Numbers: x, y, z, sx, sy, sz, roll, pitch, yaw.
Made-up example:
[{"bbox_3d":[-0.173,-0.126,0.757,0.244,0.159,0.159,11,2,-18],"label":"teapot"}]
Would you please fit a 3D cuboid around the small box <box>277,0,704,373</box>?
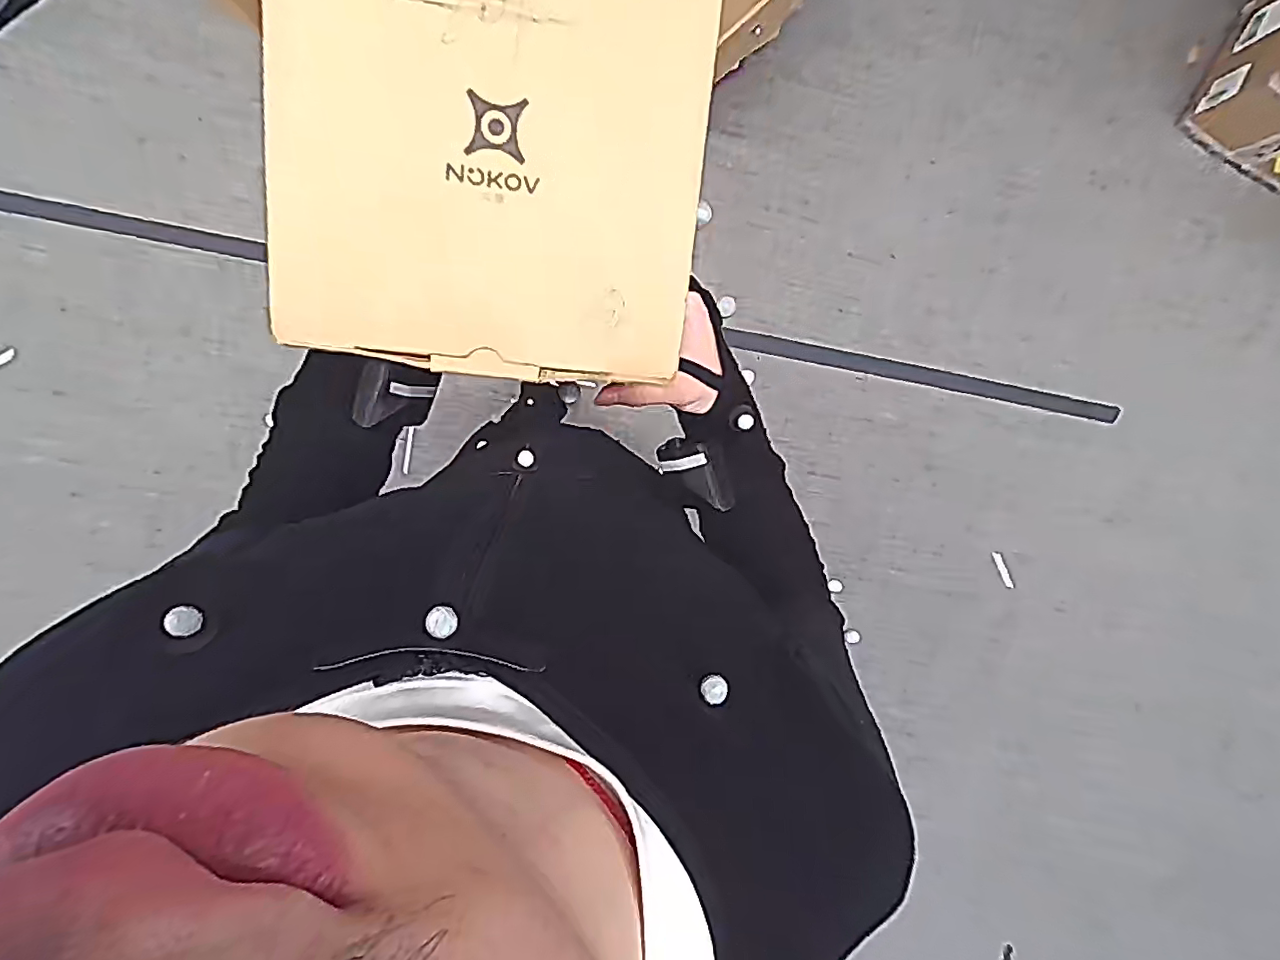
[{"bbox_3d":[-0.070,-0.155,0.301,0.168,0.176,0.179,4,100,-9],"label":"small box"}]
